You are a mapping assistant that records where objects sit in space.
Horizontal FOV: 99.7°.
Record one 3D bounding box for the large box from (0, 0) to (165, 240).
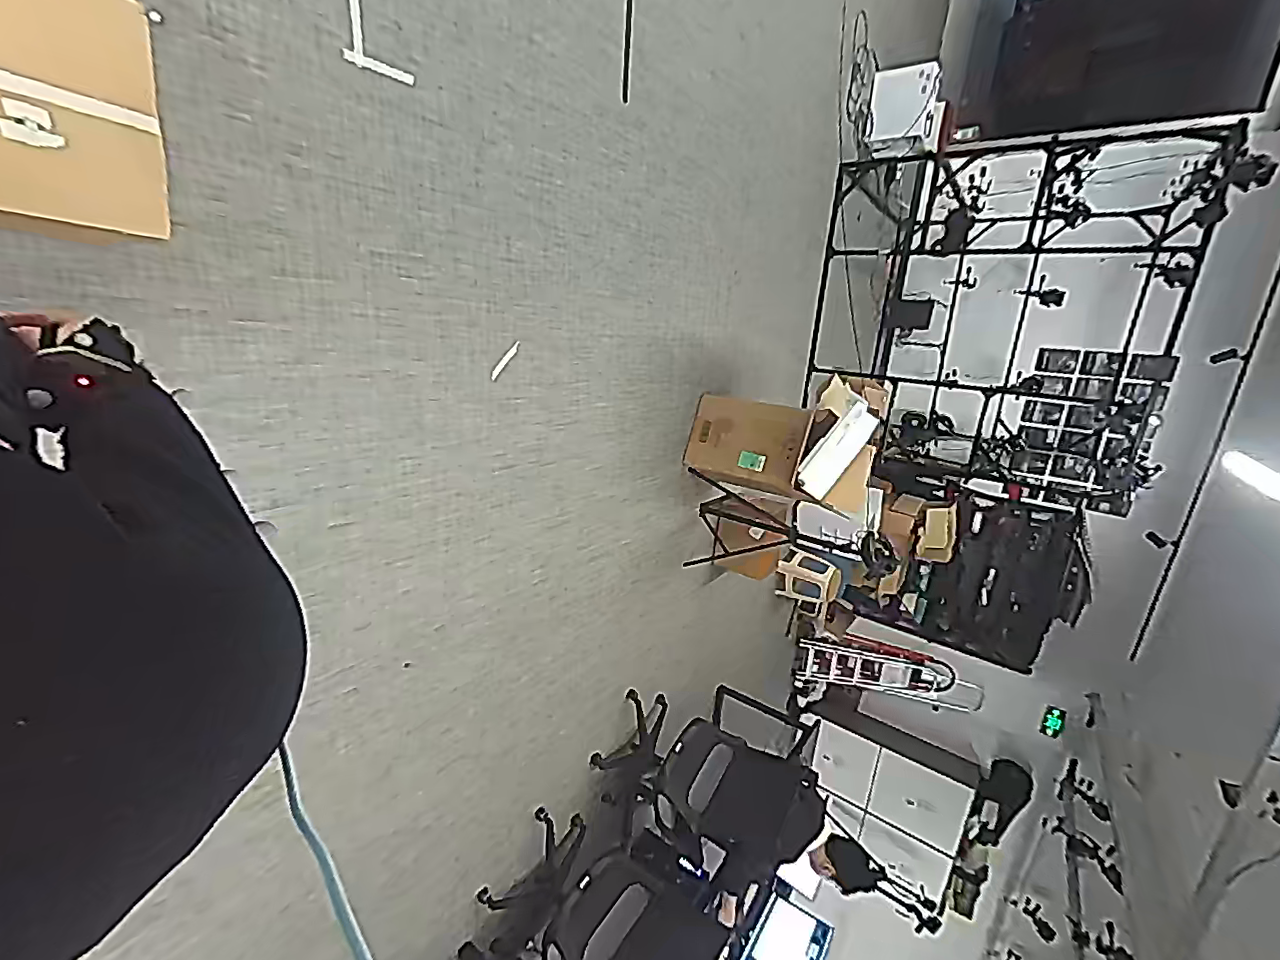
[{"bbox_3d":[-0.950,-0.526,0.713,0.408,0.320,0.320,-13,113,-55],"label":"large box"}]
